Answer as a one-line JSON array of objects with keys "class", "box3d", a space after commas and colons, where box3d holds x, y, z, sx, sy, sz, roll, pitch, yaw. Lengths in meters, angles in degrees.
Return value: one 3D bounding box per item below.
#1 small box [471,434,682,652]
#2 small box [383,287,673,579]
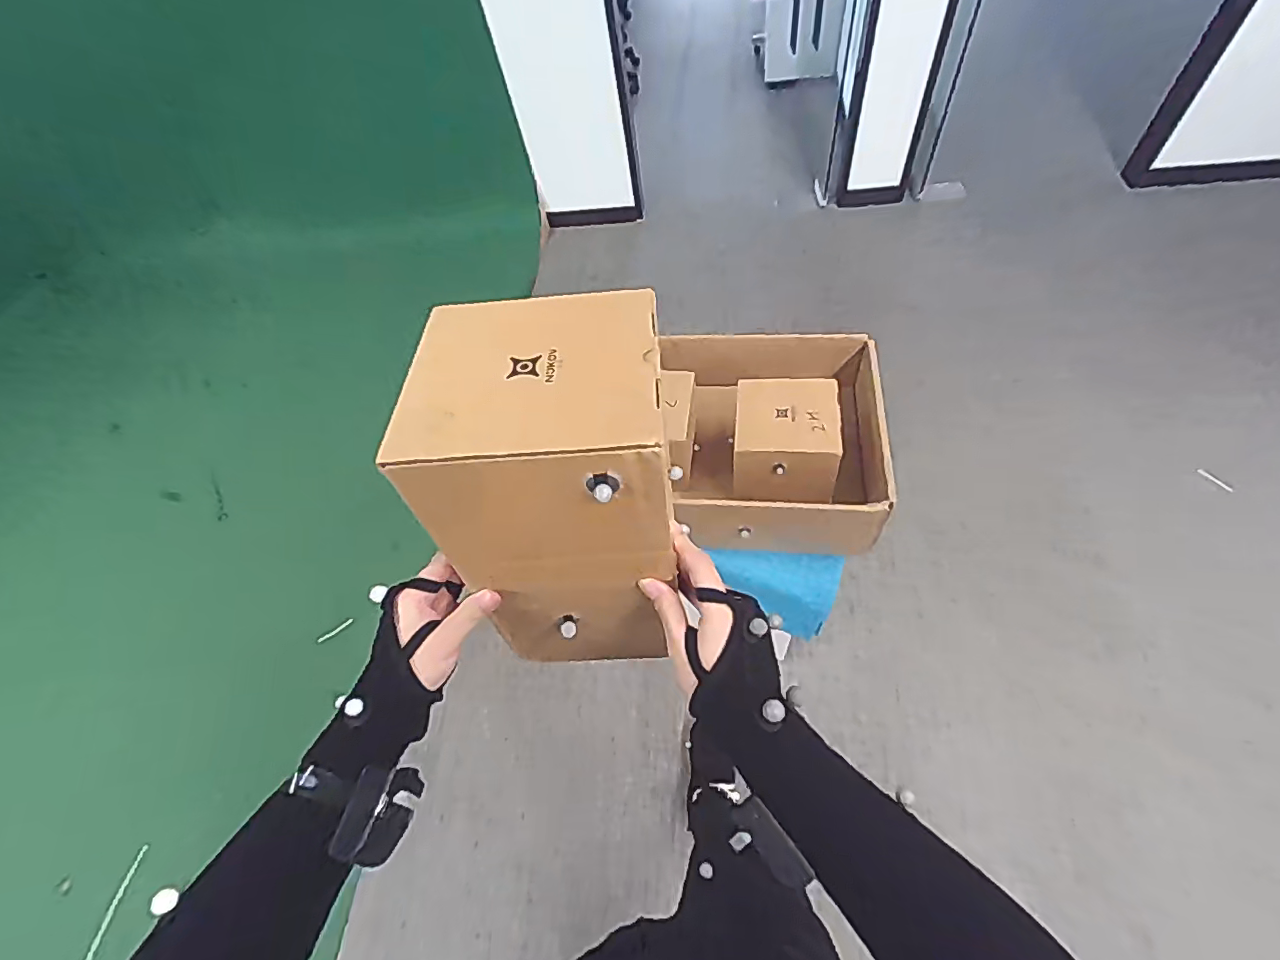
[{"class": "small box", "box3d": [-0.050, 0.070, 0.563, 0.179, 0.176, 0.168, -3, 51, 4]}, {"class": "small box", "box3d": [-0.067, -0.031, 0.437, 0.179, 0.176, 0.168, -3, 51, 2]}]
